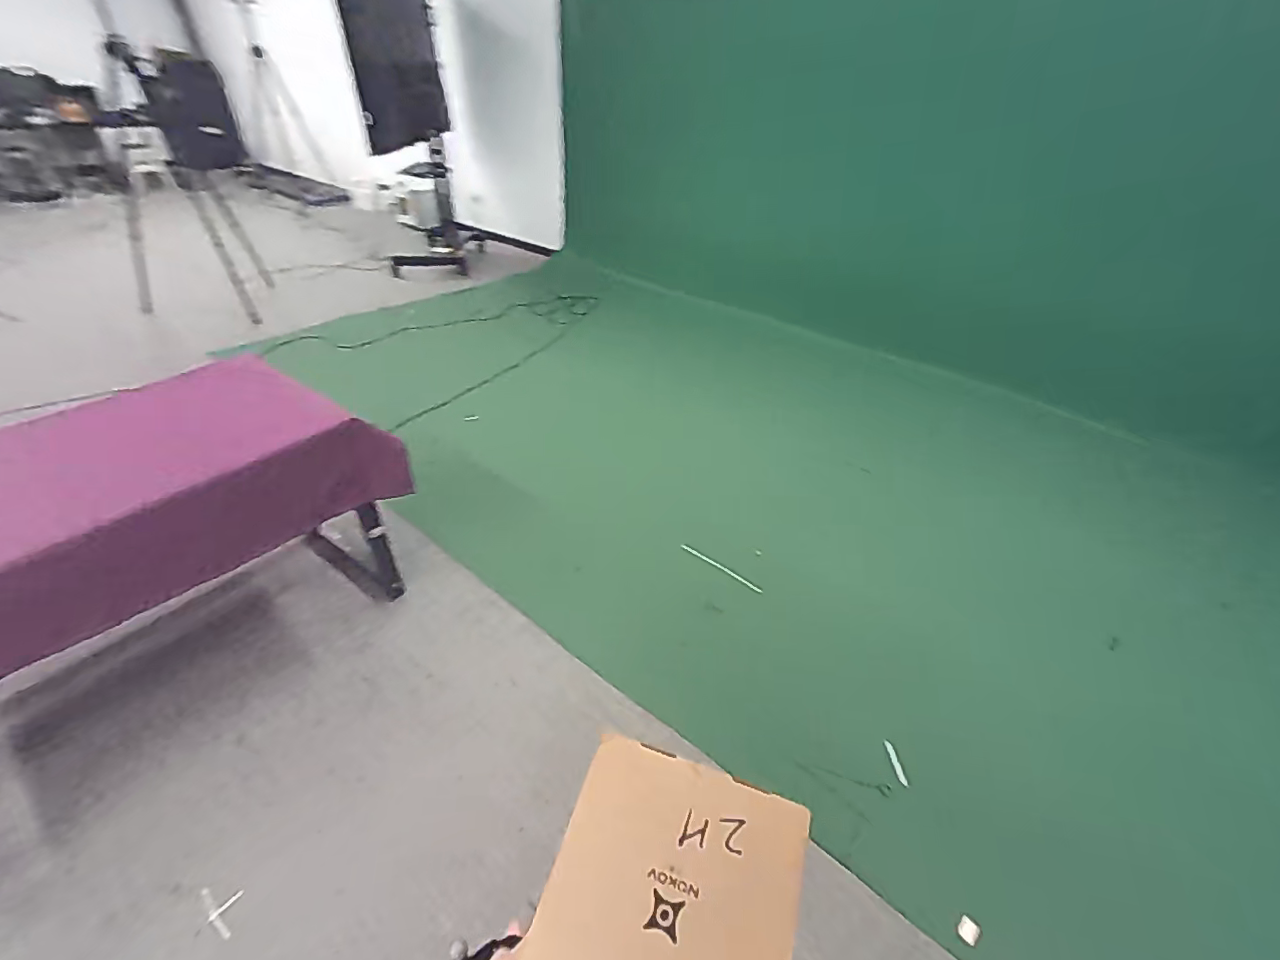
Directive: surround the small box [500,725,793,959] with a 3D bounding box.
[{"bbox_3d":[0.010,0.331,0.426,0.168,0.176,0.179,15,51,12],"label":"small box"}]
